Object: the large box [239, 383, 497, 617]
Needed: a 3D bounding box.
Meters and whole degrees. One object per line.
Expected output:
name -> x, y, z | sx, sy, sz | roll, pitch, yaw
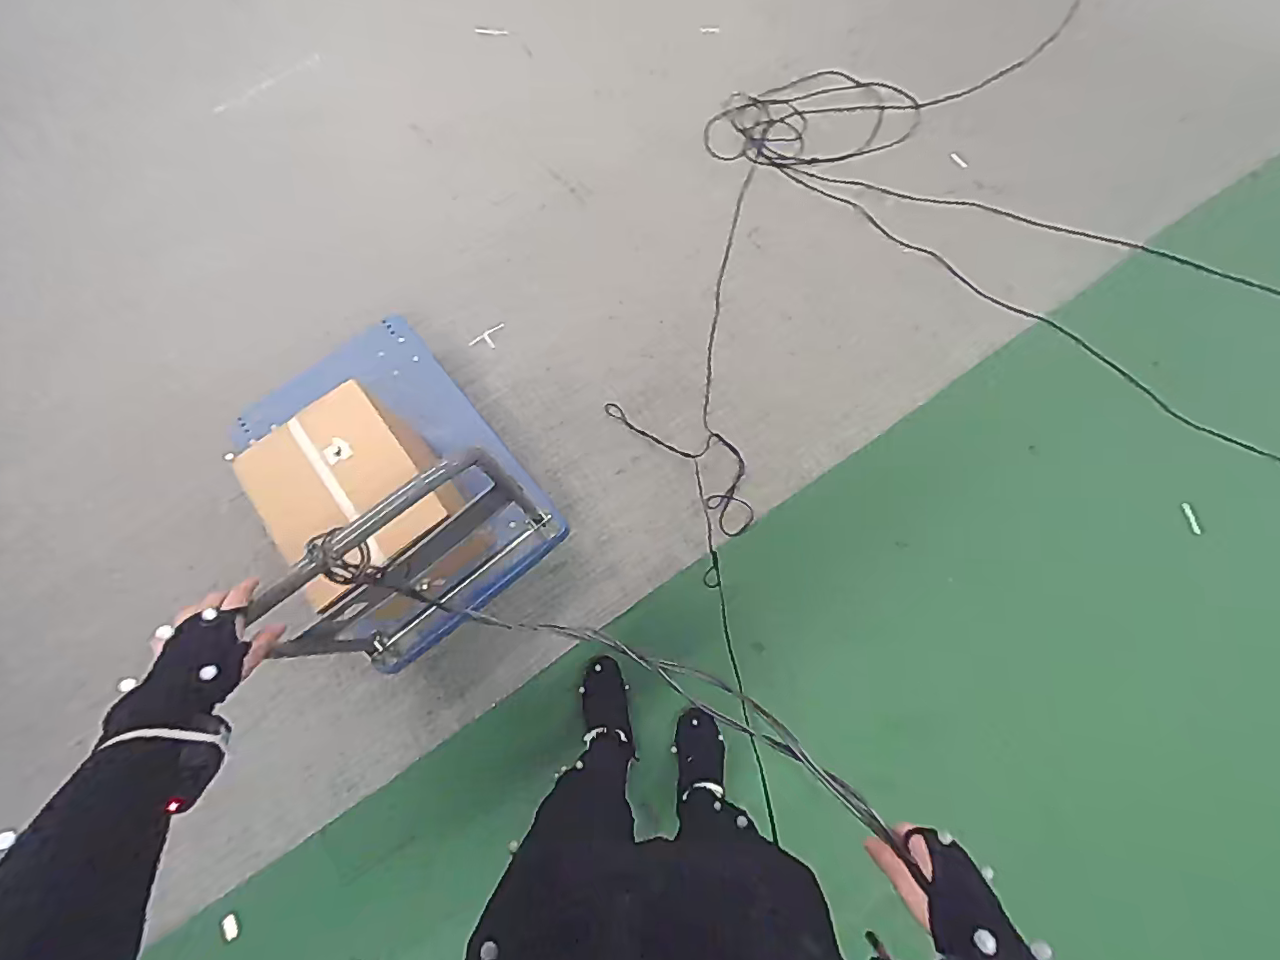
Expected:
large box -> -0.609, 0.062, 1.268 | 0.320, 0.320, 0.408 | -38, 74, -9
